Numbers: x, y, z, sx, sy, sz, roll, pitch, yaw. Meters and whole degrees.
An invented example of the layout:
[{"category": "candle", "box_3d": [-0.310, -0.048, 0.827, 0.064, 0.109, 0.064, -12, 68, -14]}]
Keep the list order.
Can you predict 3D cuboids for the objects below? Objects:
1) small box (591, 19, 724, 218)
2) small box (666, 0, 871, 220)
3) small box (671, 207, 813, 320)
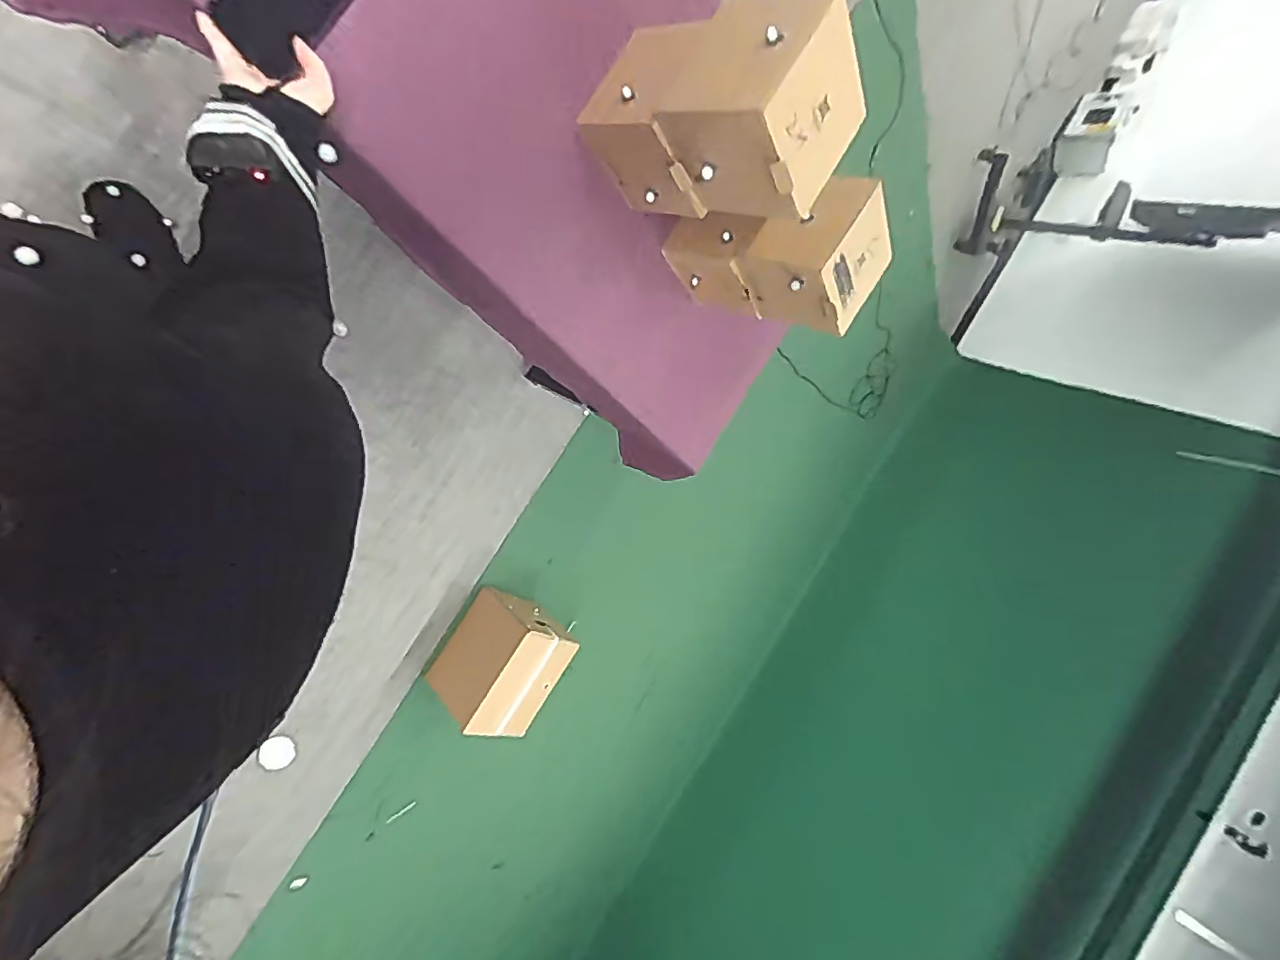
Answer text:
[{"category": "small box", "box_3d": [0.052, -0.524, 0.801, 0.179, 0.176, 0.168, -58, 142, -3]}, {"category": "small box", "box_3d": [0.164, -0.470, 0.692, 0.179, 0.176, 0.168, -58, 142, -2]}, {"category": "small box", "box_3d": [0.190, -0.435, 1.009, 0.179, 0.176, 0.168, -57, 142, -2]}]
